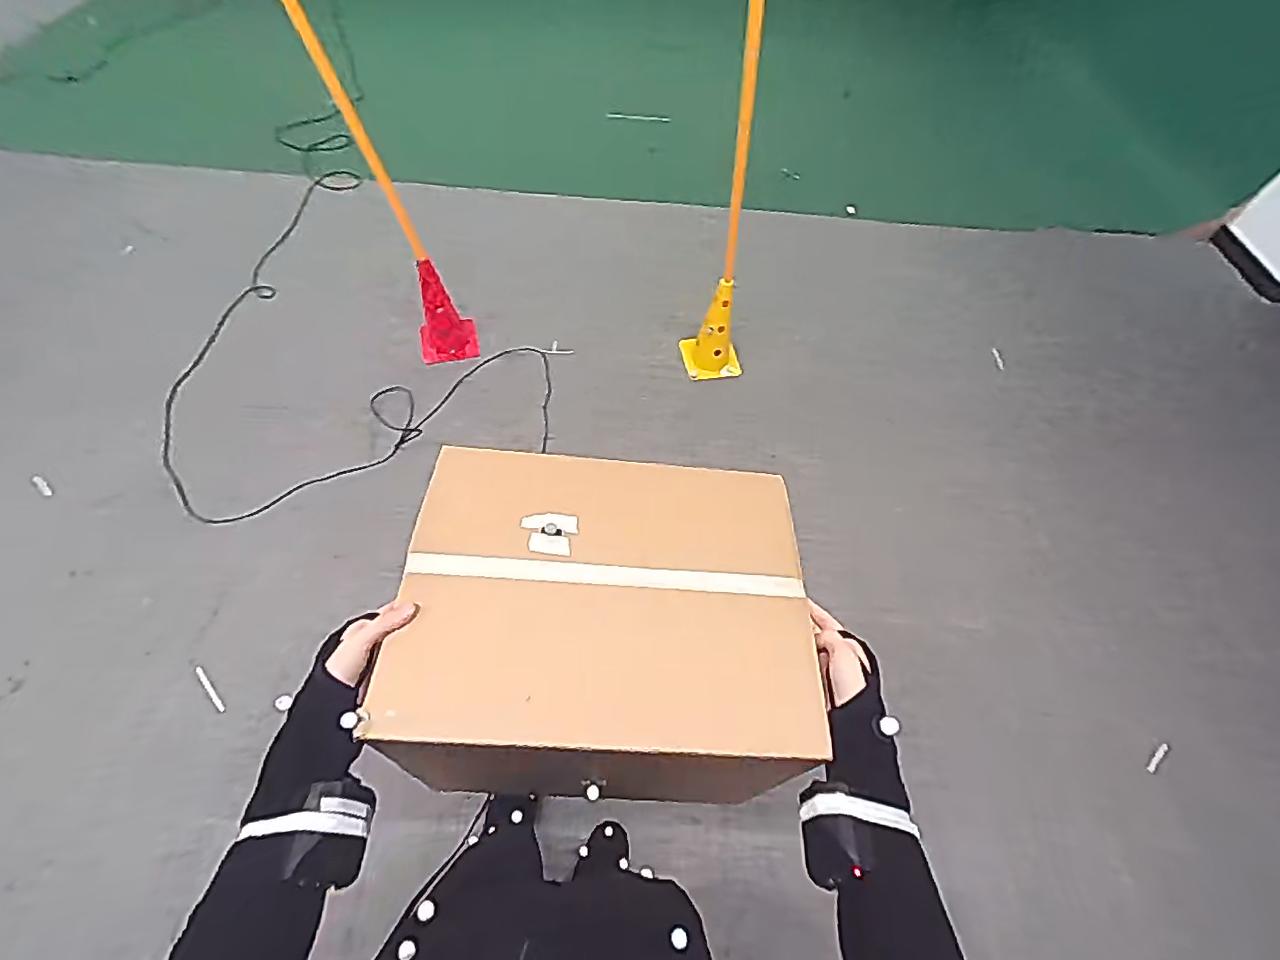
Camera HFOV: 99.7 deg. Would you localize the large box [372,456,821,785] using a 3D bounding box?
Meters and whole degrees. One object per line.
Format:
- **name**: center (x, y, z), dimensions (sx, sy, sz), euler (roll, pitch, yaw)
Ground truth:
- **large box**: center (-0.044, 0.192, 0.681), dimensions (0.408, 0.320, 0.320), euler (4, 52, -4)
